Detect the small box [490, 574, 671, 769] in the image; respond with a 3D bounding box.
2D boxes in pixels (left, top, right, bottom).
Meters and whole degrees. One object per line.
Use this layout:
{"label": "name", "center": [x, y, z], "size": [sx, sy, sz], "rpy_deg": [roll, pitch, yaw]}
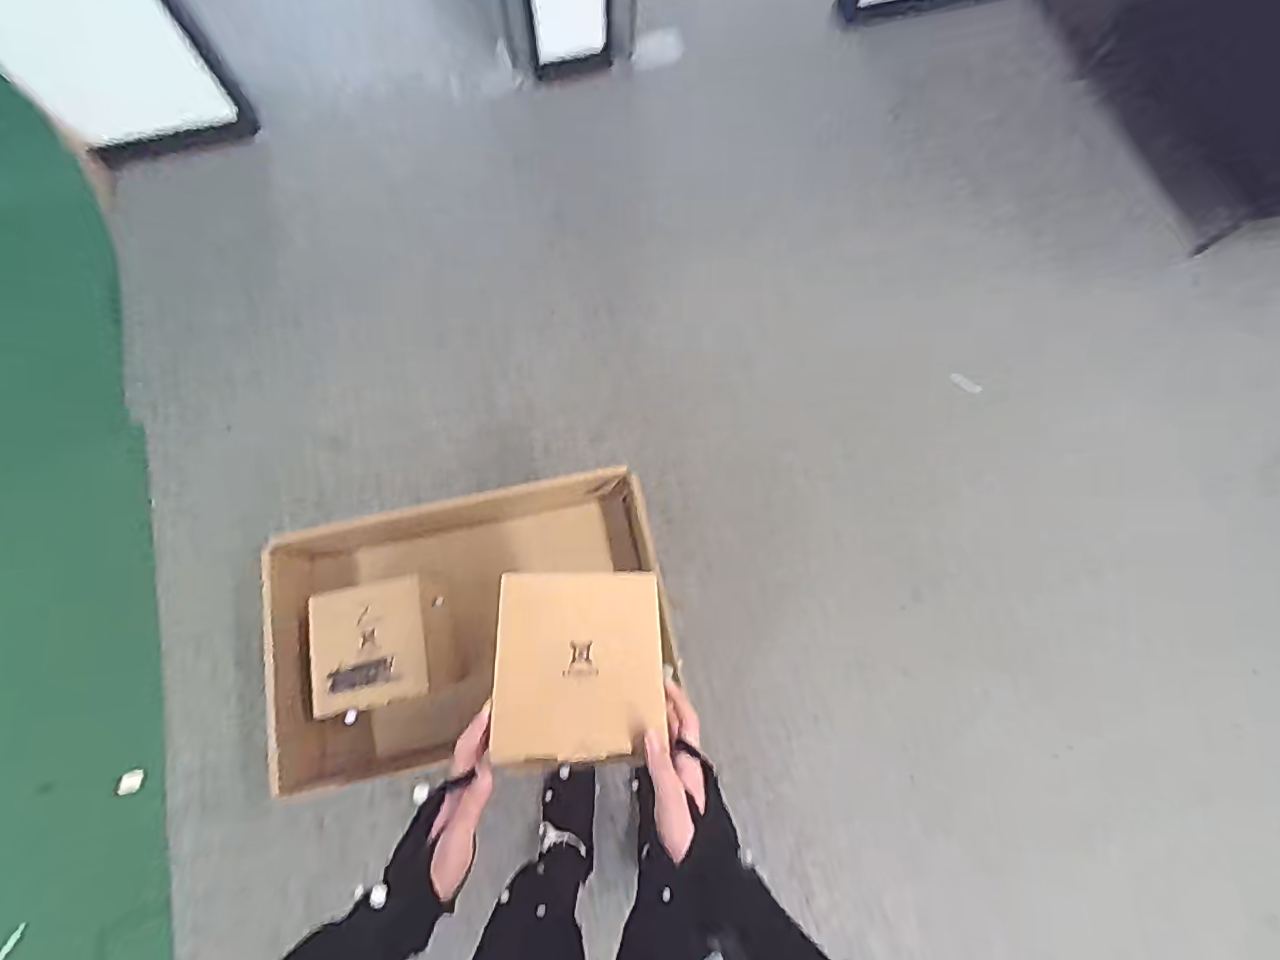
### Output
{"label": "small box", "center": [-0.067, 0.213, 0.592], "size": [0.168, 0.176, 0.179], "rpy_deg": [1, 62, -9]}
